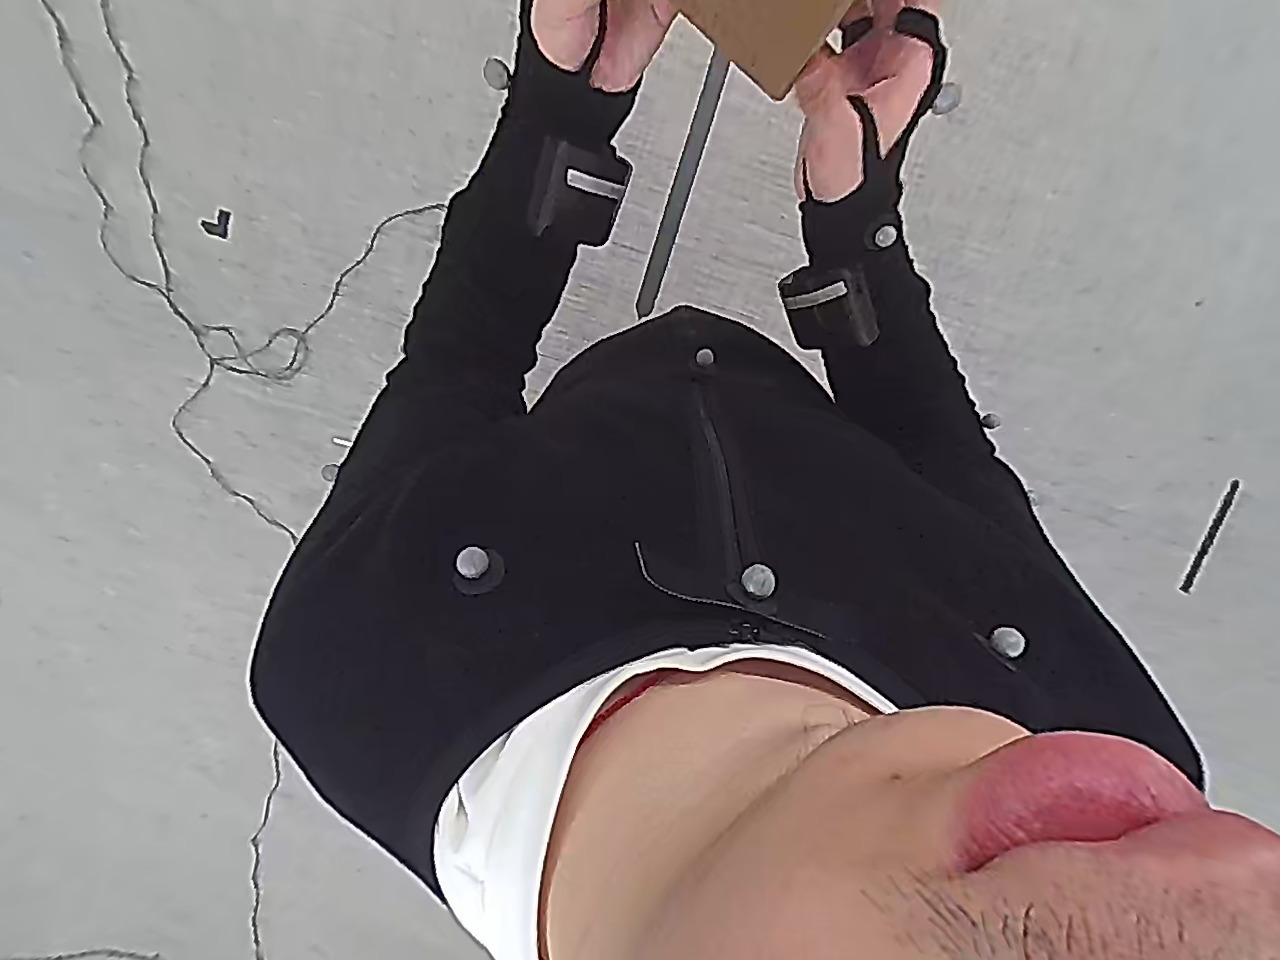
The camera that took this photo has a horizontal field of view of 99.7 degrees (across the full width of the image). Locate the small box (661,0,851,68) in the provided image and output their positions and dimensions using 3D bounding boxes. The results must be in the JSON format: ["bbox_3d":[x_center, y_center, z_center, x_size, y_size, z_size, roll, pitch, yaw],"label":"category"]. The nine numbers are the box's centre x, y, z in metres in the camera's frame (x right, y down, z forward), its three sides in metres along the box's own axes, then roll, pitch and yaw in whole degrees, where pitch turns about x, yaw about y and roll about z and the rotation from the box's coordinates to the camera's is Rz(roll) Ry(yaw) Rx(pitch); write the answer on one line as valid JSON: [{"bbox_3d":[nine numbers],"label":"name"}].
[{"bbox_3d":[0.054,-0.290,0.184,0.179,0.176,0.168,36,105,-10],"label":"small box"}]
